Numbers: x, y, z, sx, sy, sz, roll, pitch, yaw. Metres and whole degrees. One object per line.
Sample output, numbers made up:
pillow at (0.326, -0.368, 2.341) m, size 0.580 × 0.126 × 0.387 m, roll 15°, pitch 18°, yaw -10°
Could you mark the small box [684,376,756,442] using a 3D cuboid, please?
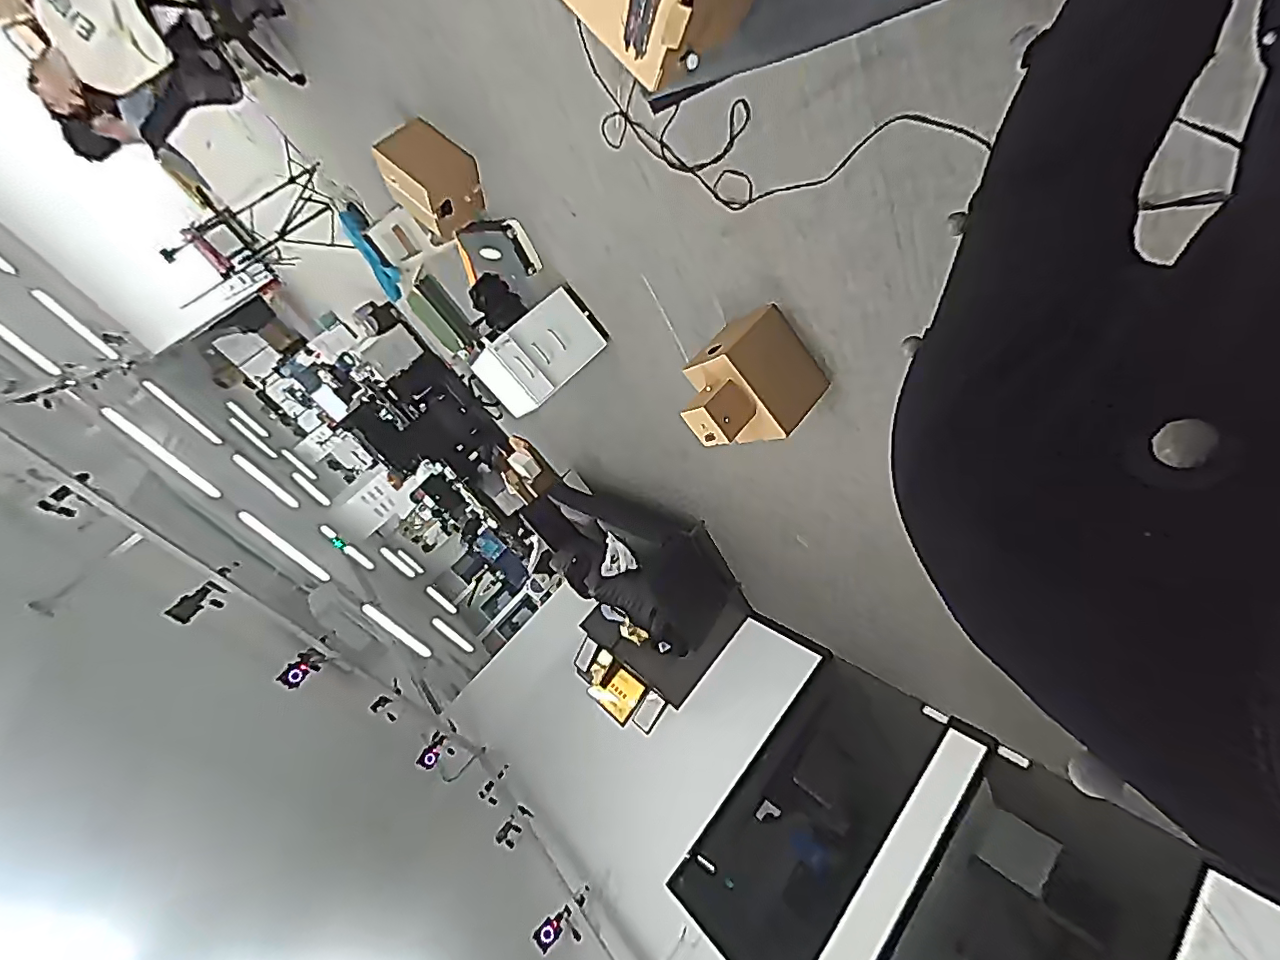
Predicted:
small box at (0.310, -0.269, 2.060) m, size 0.179 × 0.176 × 0.168 m, roll 49°, pitch 159°, yaw -17°
